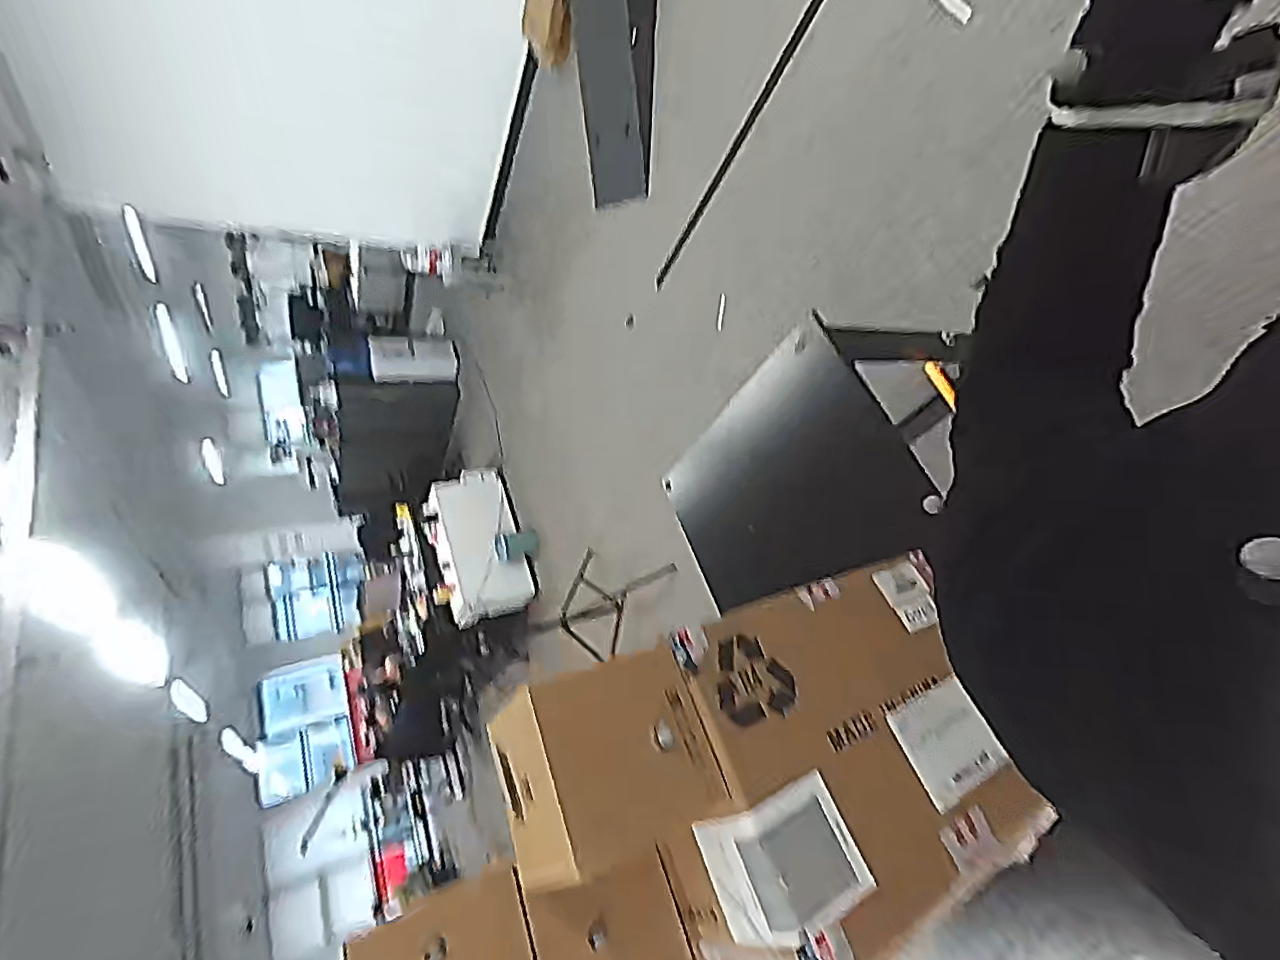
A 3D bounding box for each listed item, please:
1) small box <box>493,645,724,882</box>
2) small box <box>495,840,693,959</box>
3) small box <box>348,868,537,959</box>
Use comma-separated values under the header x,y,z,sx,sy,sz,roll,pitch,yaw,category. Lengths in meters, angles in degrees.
x,y,z,sx,sy,sz,roll,pitch,yaw,category
-0.041,0.298,0.579,0.179,0.176,0.168,-54,51,46,small box
-0.061,0.525,0.658,0.179,0.176,0.168,65,146,26,small box
-0.201,0.542,0.574,0.179,0.176,0.168,64,147,28,small box
